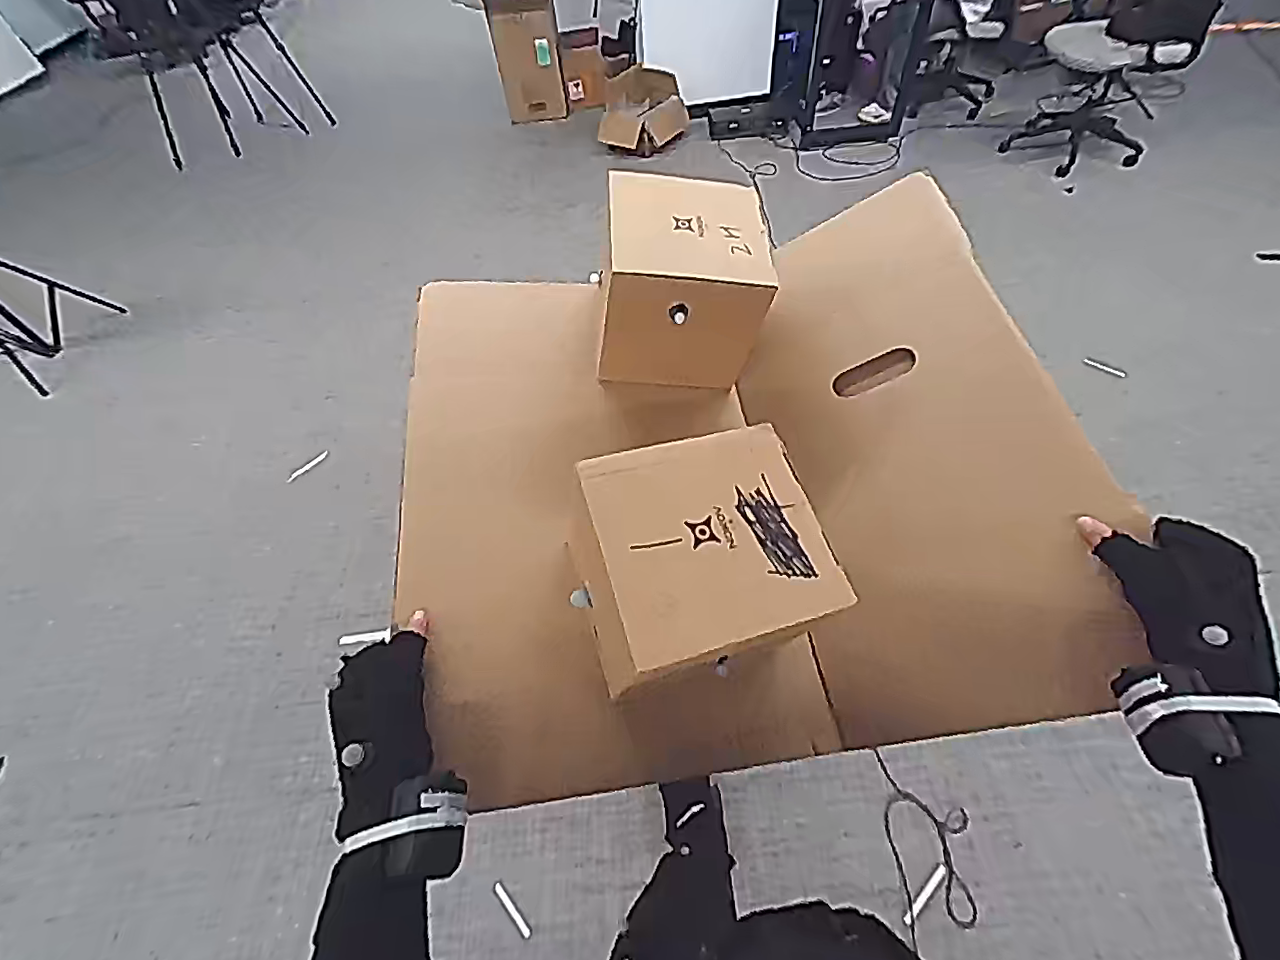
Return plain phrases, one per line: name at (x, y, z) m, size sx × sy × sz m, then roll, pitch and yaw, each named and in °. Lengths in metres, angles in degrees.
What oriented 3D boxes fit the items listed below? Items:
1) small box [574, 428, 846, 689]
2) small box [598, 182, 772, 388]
small box at (0.044, 0.077, 0.494) m, size 0.179 × 0.176 × 0.168 m, roll -12°, pitch 64°, yaw -15°
small box at (0.041, -0.229, 0.663) m, size 0.179 × 0.176 × 0.168 m, roll 3°, pitch 61°, yaw -9°
